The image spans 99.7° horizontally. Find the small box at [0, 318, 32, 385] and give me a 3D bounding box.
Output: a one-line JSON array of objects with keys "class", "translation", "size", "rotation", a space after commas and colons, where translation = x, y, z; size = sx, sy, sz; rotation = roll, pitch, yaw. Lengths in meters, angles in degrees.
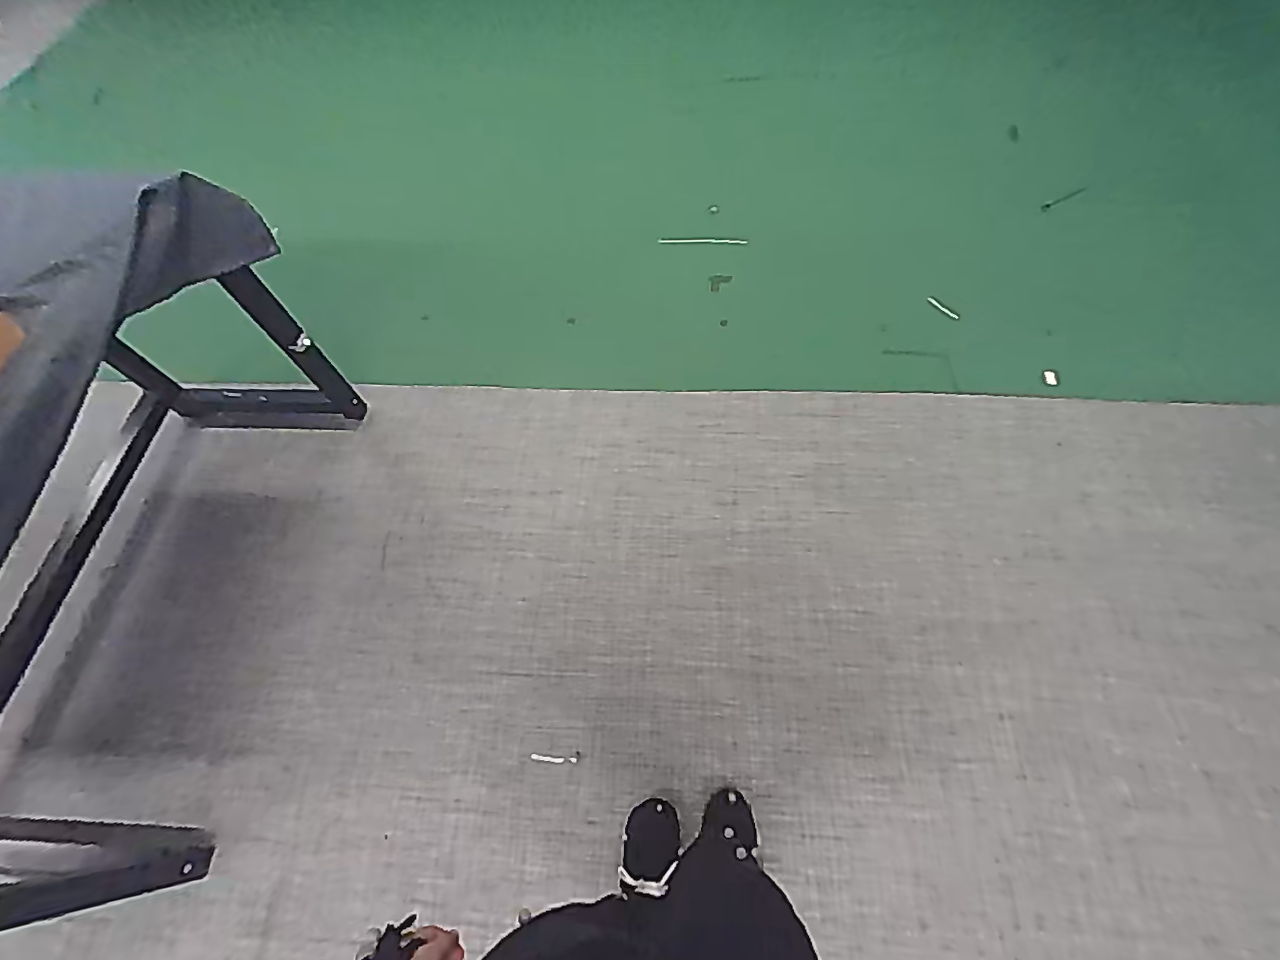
[{"class": "small box", "translation": [-1.026, -0.188, 0.732], "size": [0.179, 0.176, 0.168], "rotation": [5, 61, 5]}]
